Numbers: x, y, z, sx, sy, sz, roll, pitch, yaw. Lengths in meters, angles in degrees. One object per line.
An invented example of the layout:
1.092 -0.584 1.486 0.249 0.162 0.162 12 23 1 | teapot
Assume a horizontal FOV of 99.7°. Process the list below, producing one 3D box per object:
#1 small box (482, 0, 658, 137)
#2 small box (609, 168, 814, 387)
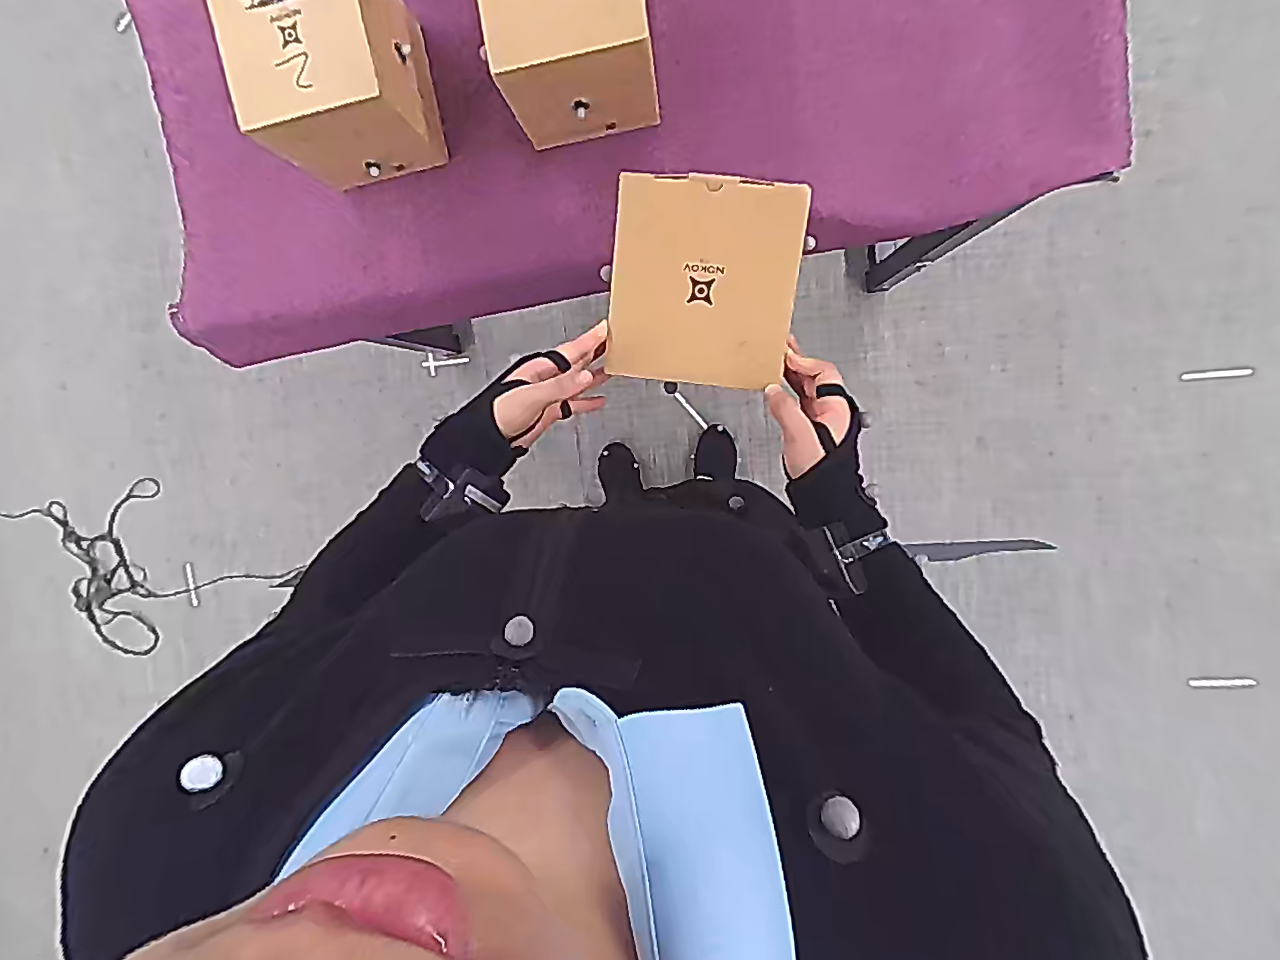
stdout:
-0.073 -0.519 0.610 0.168 0.176 0.179 -7 96 6 | small box
0.069 -0.195 0.560 0.168 0.176 0.179 7 102 5 | small box
